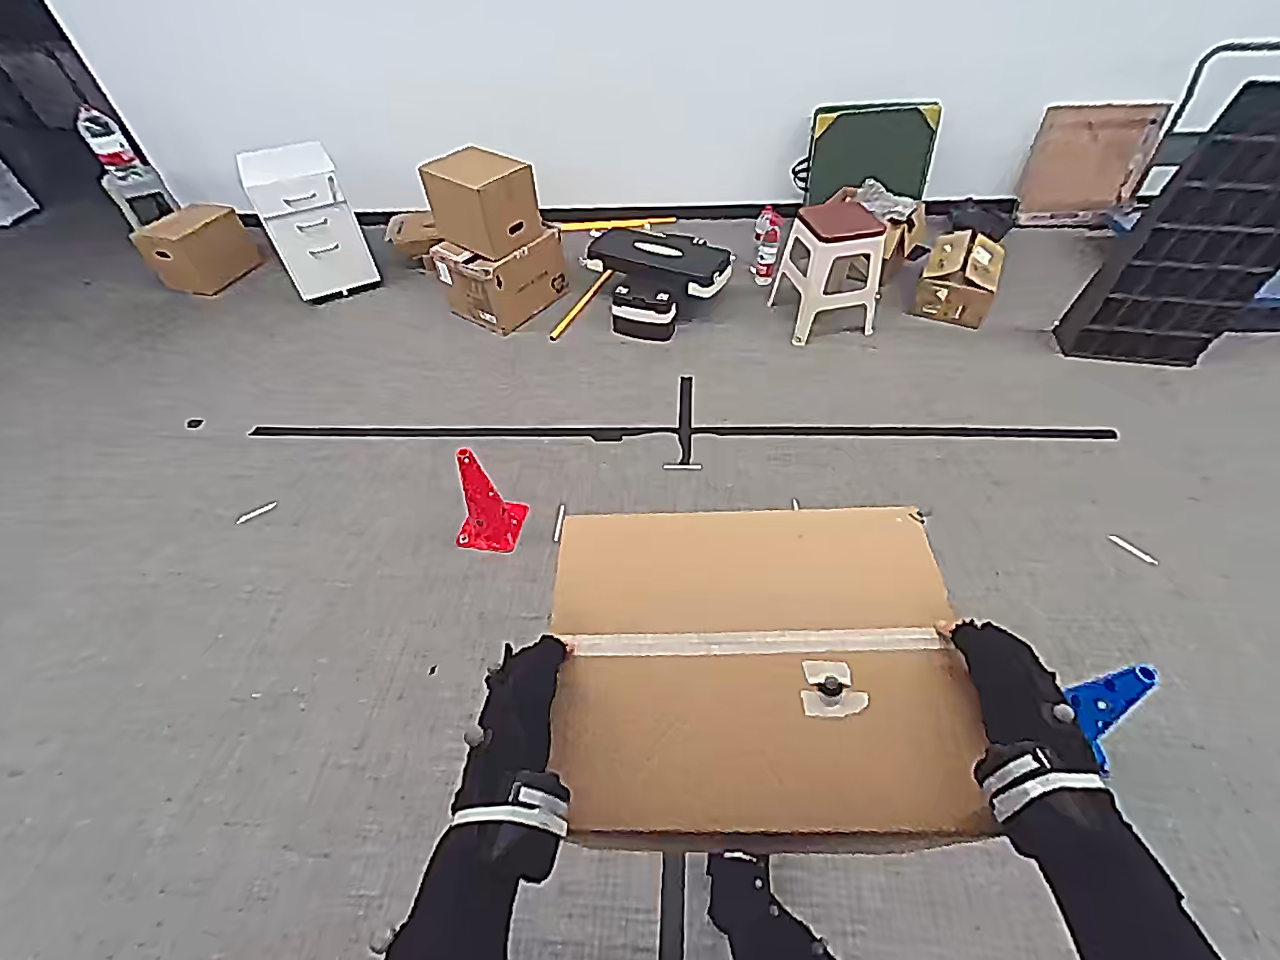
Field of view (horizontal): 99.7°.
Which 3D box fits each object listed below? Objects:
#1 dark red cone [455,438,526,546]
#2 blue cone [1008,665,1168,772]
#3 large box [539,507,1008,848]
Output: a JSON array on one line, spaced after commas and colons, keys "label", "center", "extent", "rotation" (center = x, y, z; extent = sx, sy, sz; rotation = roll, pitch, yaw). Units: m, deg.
[{"label": "dark red cone", "center": [-0.500, 0.025, 1.687], "extent": [0.201, 0.394, 0.202], "rotation": [6, 49, 7]}, {"label": "blue cone", "center": [1.029, 0.508, 1.219], "extent": [0.192, 0.380, 0.193], "rotation": [4, 49, 6]}, {"label": "large box", "center": [0.116, 0.251, 0.661], "extent": [0.408, 0.320, 0.320], "rotation": [-2, 53, 3]}]
